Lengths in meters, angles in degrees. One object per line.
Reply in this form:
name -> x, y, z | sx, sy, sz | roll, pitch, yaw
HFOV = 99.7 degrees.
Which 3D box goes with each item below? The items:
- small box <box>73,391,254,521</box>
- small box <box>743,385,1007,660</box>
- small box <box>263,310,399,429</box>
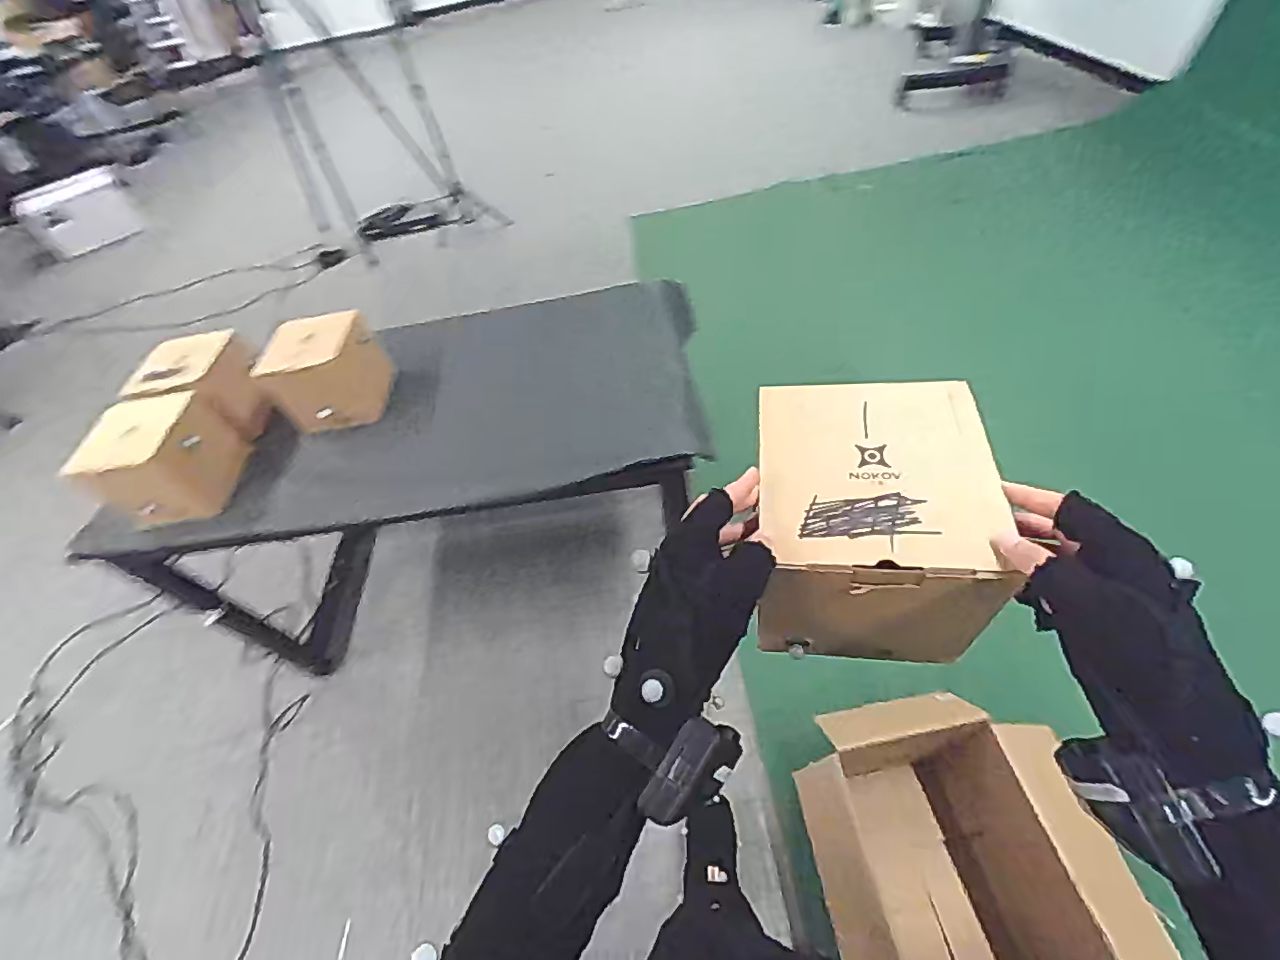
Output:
small box -> -0.896, -0.044, 1.044 | 0.168, 0.176, 0.179 | -8, 51, 4
small box -> 0.174, 0.042, 0.464 | 0.168, 0.176, 0.179 | 0, 52, 11
small box -> -0.641, -0.233, 1.151 | 0.168, 0.176, 0.179 | -8, 51, 4
